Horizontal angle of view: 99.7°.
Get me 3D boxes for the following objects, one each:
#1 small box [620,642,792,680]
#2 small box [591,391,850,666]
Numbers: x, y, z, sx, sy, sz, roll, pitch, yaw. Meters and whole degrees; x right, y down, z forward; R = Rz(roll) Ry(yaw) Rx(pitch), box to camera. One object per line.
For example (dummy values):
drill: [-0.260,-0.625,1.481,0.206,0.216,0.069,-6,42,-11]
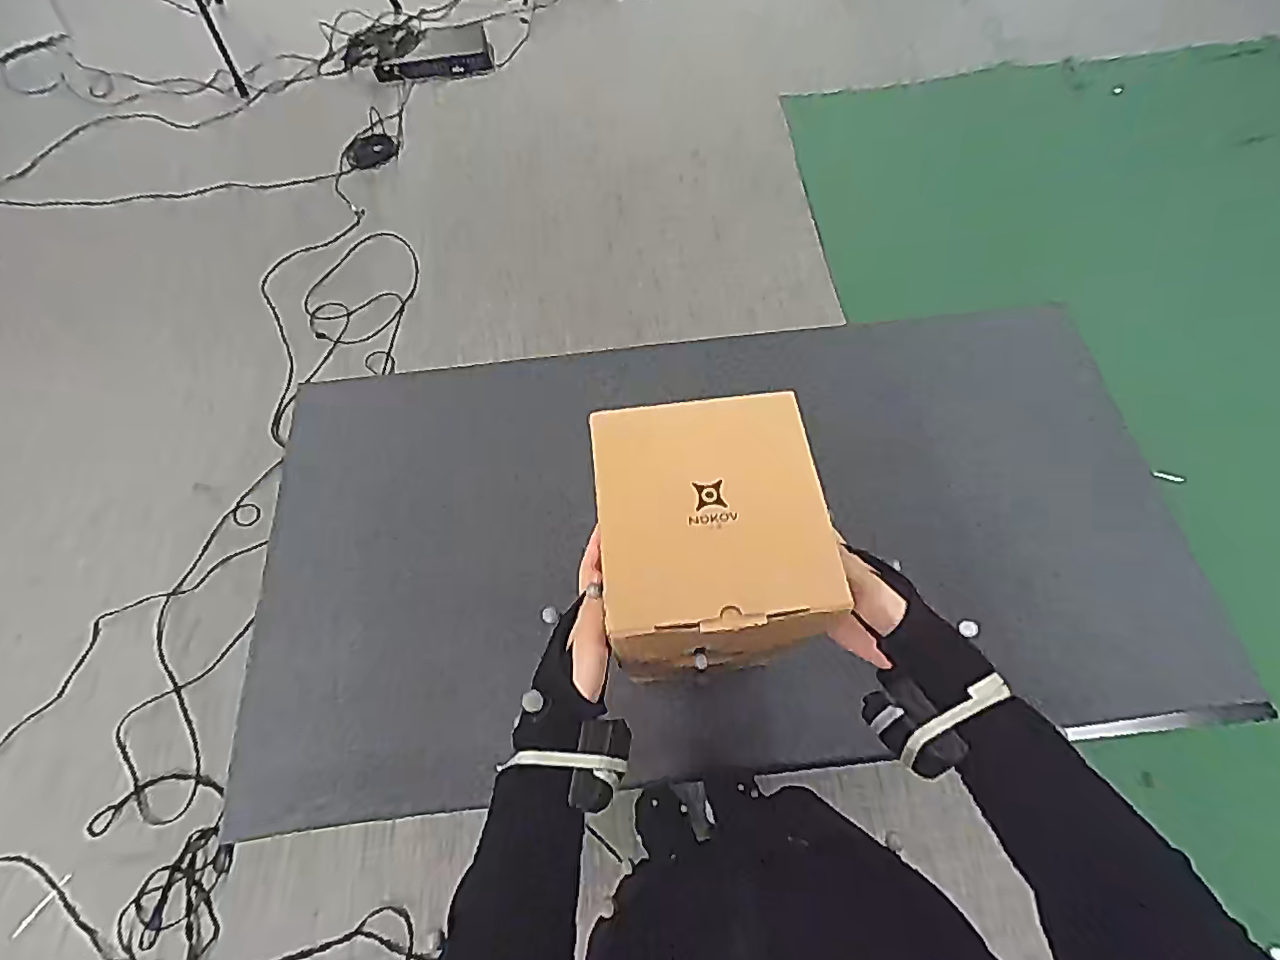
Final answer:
small box: [0.057,0.120,0.614,0.168,0.176,0.179,-8,66,0]
small box: [0.051,0.049,0.462,0.168,0.176,0.179,-7,63,-2]
